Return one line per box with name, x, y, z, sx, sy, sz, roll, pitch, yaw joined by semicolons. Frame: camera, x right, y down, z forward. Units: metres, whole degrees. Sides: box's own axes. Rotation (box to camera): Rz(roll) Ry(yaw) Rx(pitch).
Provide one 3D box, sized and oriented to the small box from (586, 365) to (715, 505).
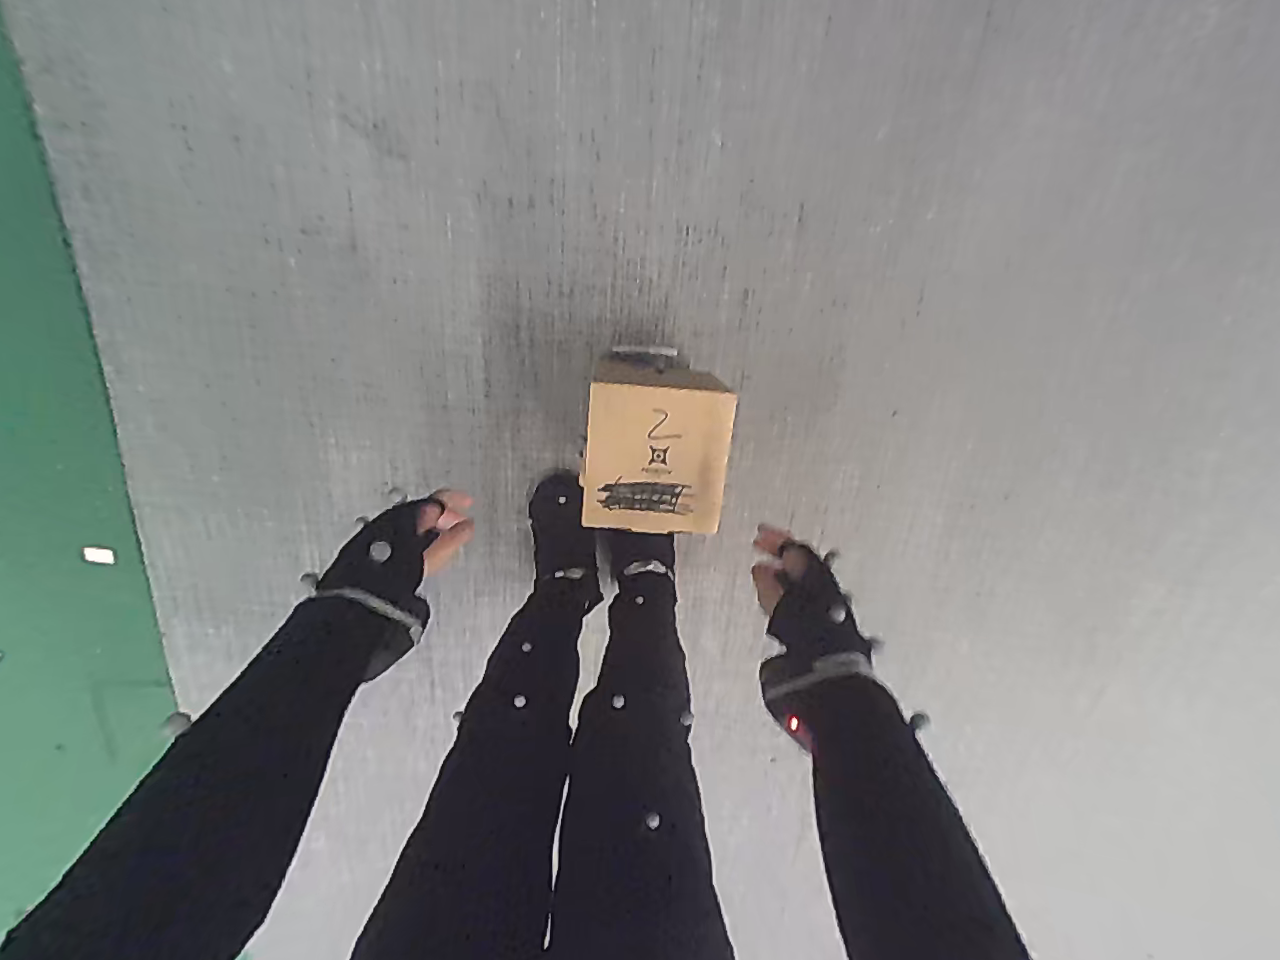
small box;0.008;-0.080;0.866;0.168;0.176;0.179;9;109;-6
